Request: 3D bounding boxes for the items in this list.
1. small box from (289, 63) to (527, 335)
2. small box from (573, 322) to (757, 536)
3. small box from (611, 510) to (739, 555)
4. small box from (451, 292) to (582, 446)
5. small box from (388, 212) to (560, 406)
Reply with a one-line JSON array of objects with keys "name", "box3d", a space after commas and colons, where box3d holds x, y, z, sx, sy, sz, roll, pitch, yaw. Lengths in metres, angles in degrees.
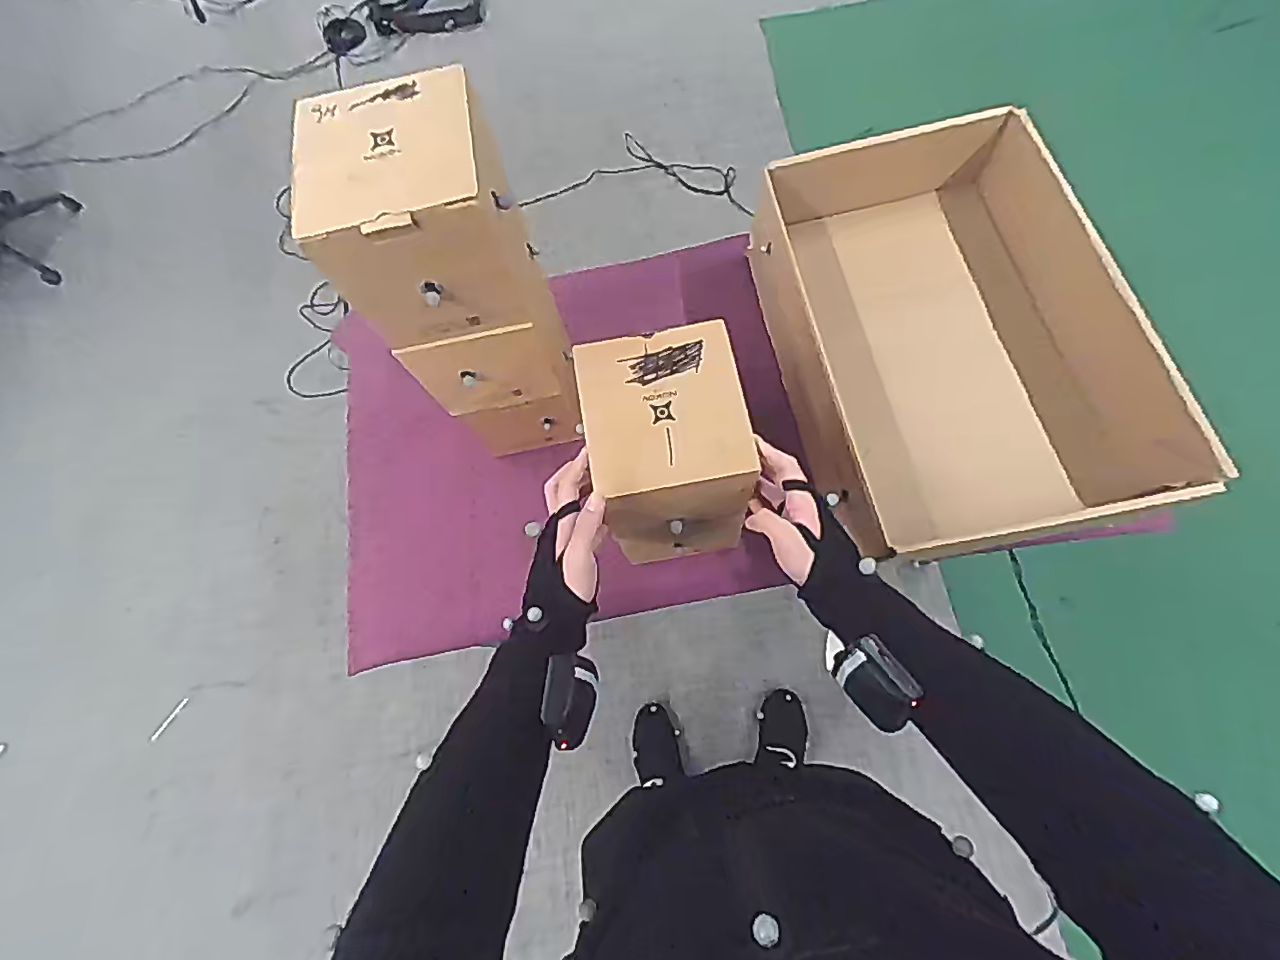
[{"name": "small box", "box3d": [-0.224, -0.269, 0.556, 0.168, 0.176, 0.179, -12, 71, 1]}, {"name": "small box", "box3d": [0.025, -0.049, 0.623, 0.168, 0.176, 0.179, -11, 70, 1]}, {"name": "small box", "box3d": [0.041, 0.005, 0.778, 0.168, 0.176, 0.179, -10, 70, 2]}, {"name": "small box", "box3d": [-0.194, -0.165, 0.863, 0.168, 0.176, 0.179, -11, 70, 1]}, {"name": "small box", "box3d": [-0.209, -0.212, 0.709, 0.168, 0.176, 0.179, -11, 70, 1]}]
